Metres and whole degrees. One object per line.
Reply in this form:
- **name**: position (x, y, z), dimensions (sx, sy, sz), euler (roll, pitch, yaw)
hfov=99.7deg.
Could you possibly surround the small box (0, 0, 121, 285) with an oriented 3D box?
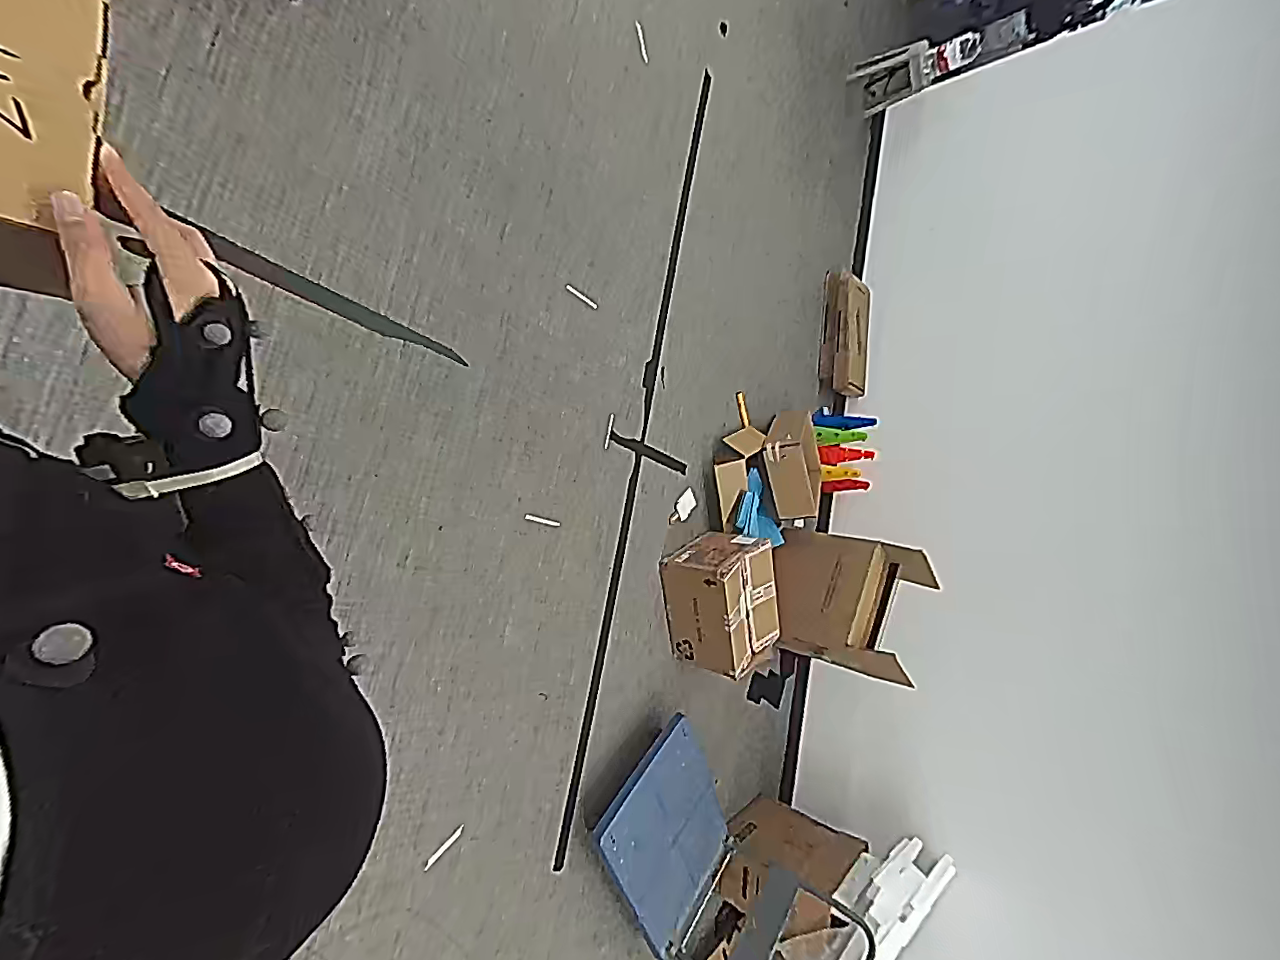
- **small box**: position (-0.410, -0.220, 0.287), dimensions (0.179, 0.176, 0.168), euler (4, 89, -50)
